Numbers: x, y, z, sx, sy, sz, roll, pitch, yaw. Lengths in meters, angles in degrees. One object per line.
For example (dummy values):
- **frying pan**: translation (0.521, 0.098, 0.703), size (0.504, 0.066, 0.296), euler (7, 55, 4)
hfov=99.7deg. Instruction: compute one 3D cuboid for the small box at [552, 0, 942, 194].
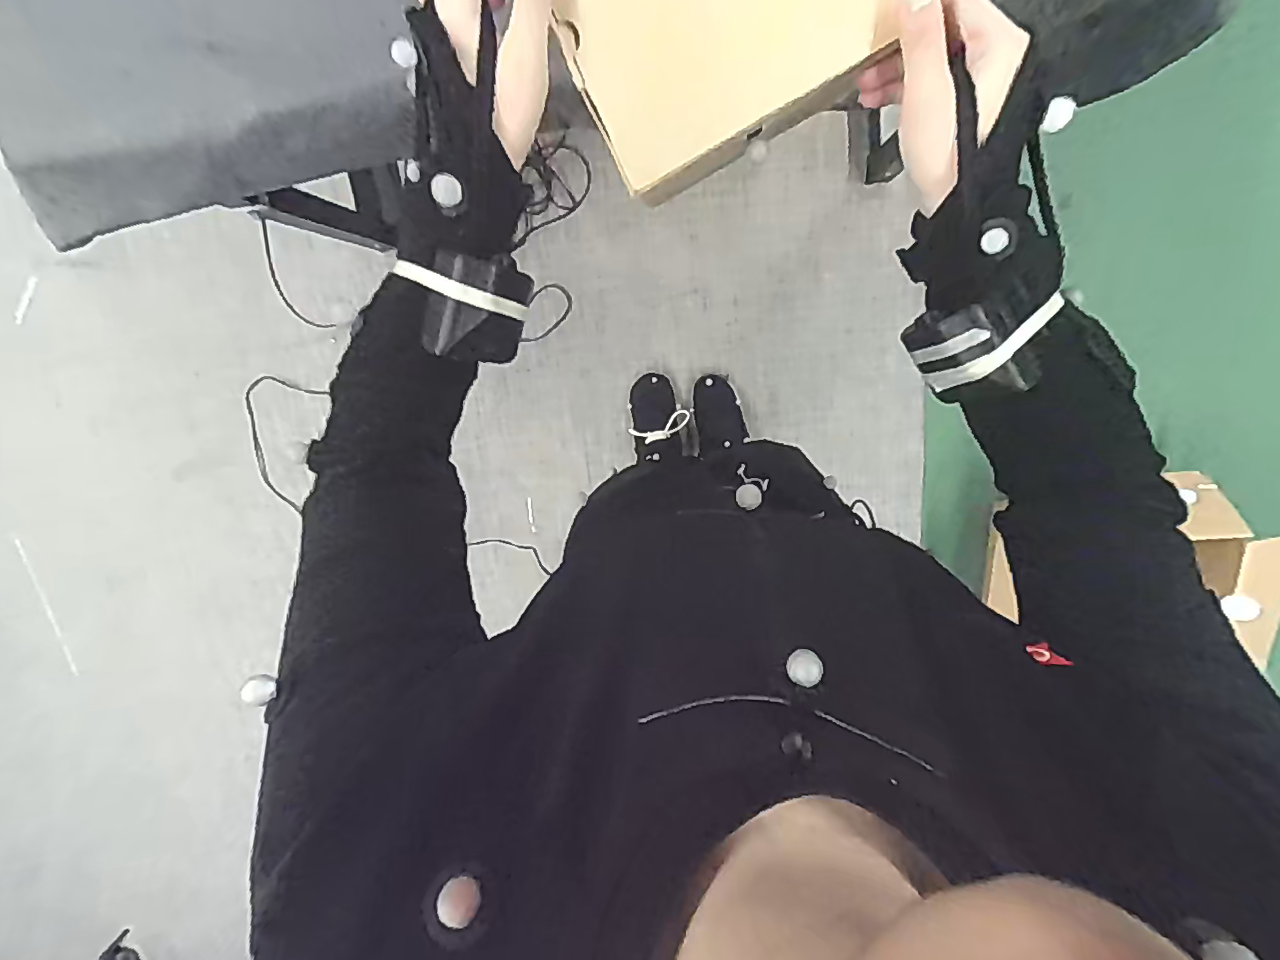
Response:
- **small box**: translation (0.045, -0.301, 0.332), size (0.179, 0.176, 0.168), euler (-23, 111, 16)
